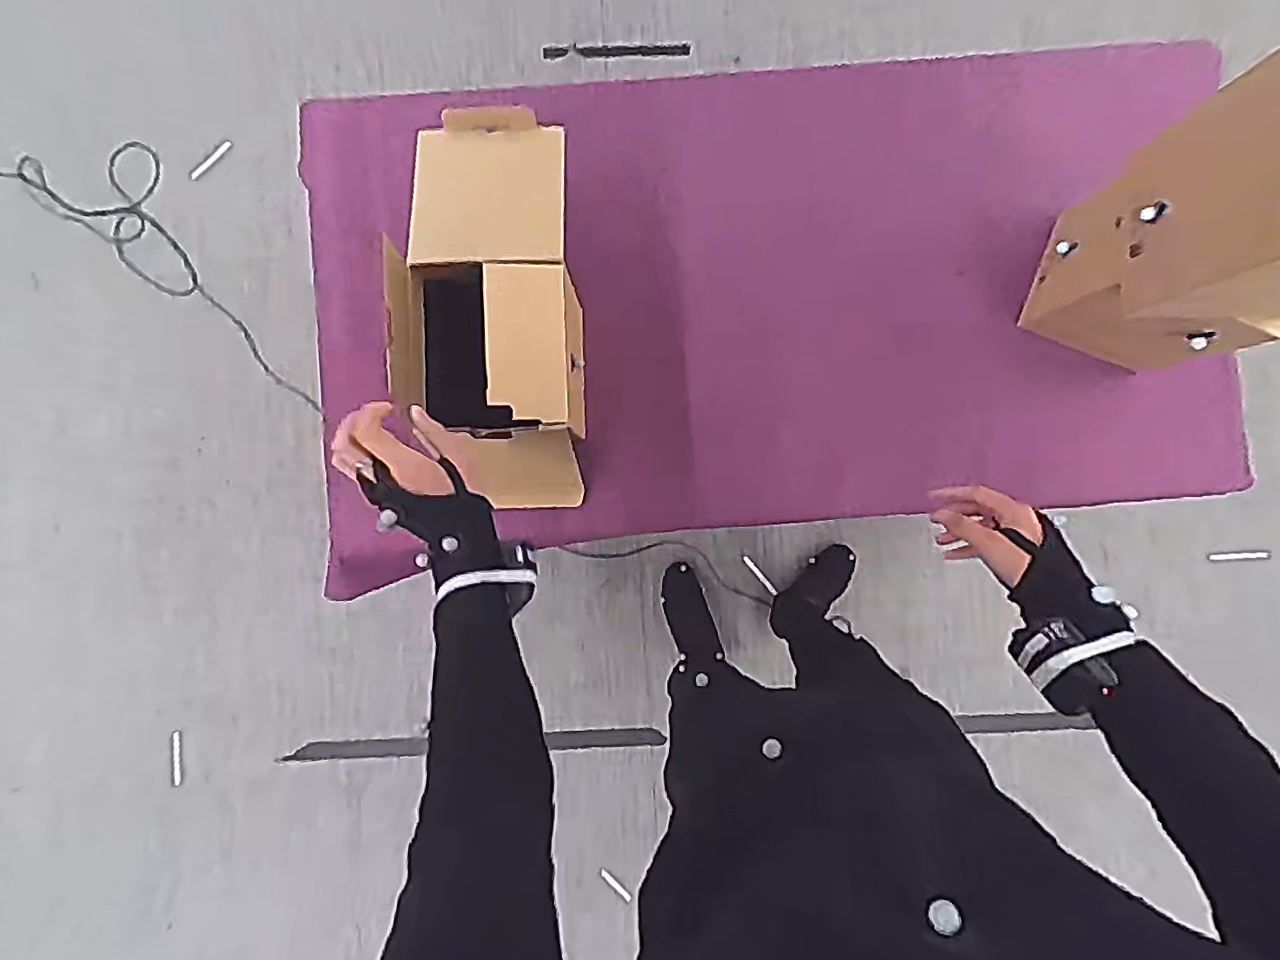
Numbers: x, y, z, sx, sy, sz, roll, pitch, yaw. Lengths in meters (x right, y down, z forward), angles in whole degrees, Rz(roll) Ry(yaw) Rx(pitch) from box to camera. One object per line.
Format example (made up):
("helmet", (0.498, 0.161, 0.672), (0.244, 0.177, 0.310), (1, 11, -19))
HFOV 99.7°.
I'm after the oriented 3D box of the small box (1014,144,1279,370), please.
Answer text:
("small box", (0.603, -0.243, 0.640), (0.179, 0.176, 0.168), (22, 89, 1))
